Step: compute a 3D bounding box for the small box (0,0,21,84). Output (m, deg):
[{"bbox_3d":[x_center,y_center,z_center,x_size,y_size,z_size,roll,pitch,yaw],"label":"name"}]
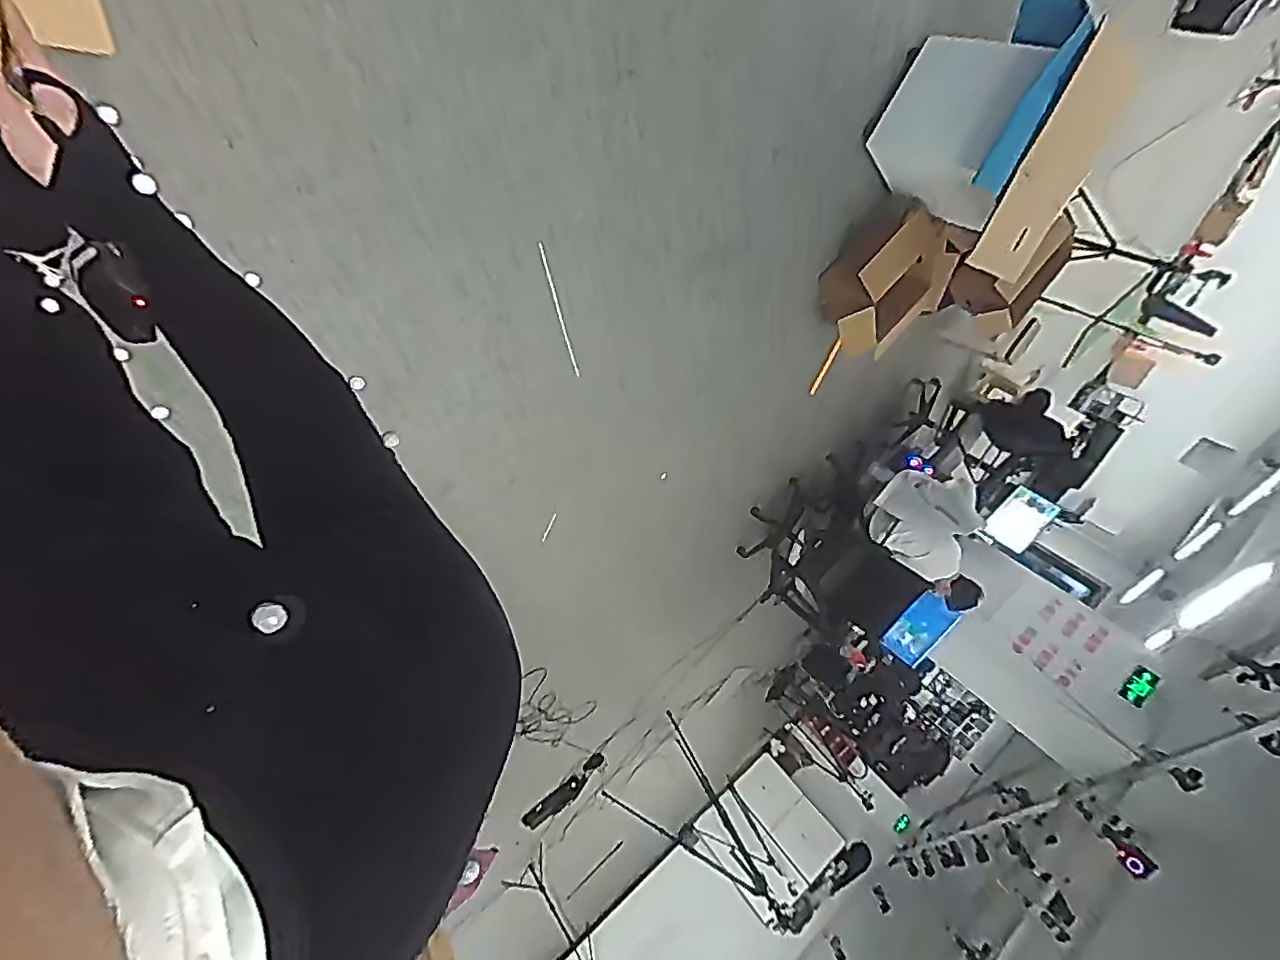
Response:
[{"bbox_3d":[-0.570,-0.426,0.382,0.168,0.176,0.179,-2,125,-45],"label":"small box"}]
